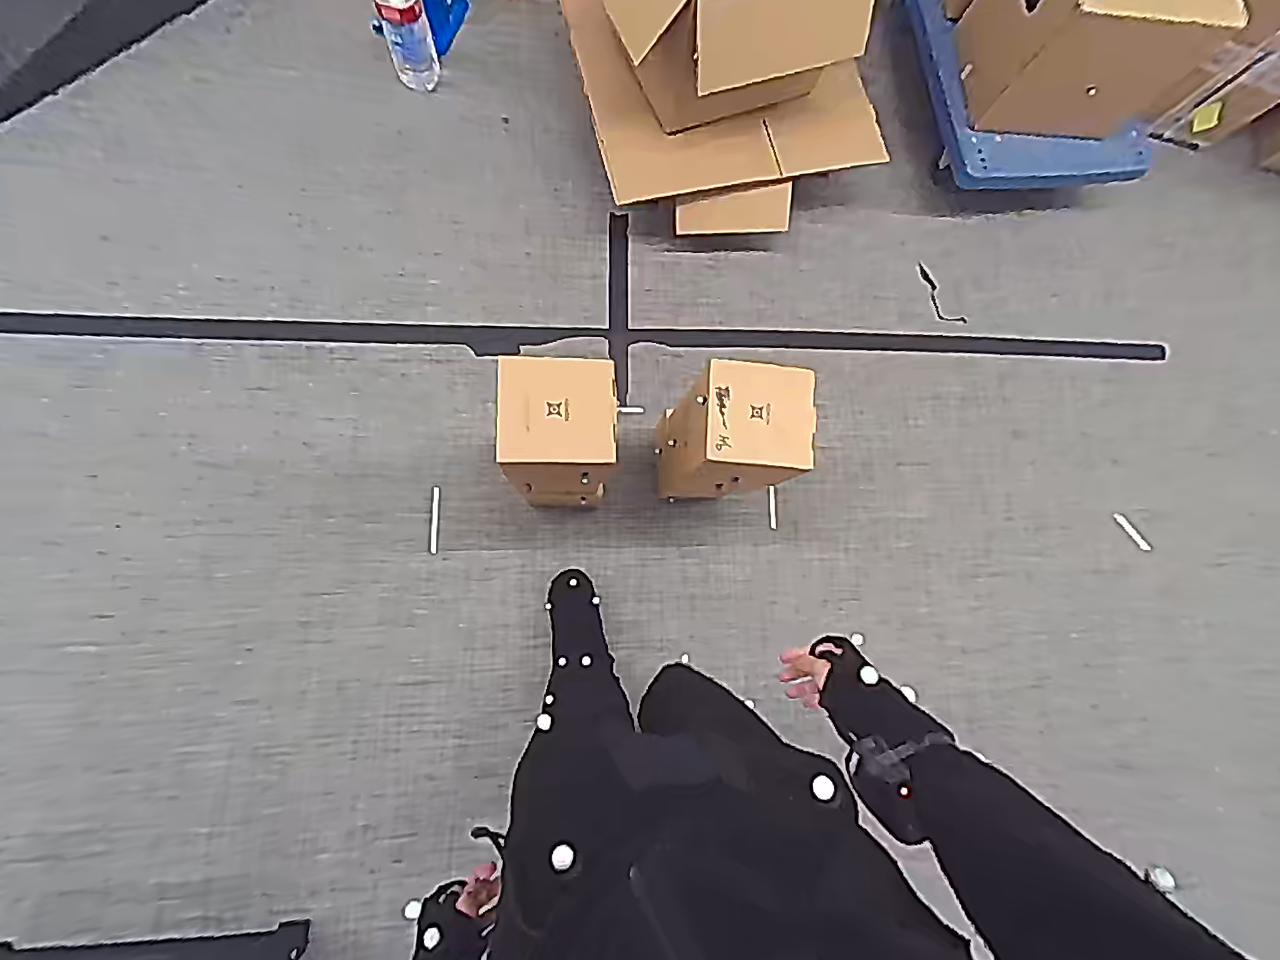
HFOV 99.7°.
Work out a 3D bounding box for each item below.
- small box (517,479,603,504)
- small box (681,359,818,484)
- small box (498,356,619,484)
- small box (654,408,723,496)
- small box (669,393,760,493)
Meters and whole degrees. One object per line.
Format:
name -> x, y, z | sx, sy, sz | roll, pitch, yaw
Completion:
small box -> -0.173, -0.038, 1.196 | 0.179, 0.176, 0.168 | 1, 80, -8
small box -> 0.179, -0.089, 0.917 | 0.179, 0.176, 0.168 | 6, 80, -8
small box -> -0.131, -0.089, 0.875 | 0.179, 0.176, 0.168 | -1, 79, -8
small box -> 0.127, -0.057, 1.241 | 0.168, 0.176, 0.179 | 0, 80, -9
small box -> 0.156, -0.066, 1.078 | 0.179, 0.176, 0.168 | 2, 81, -9
